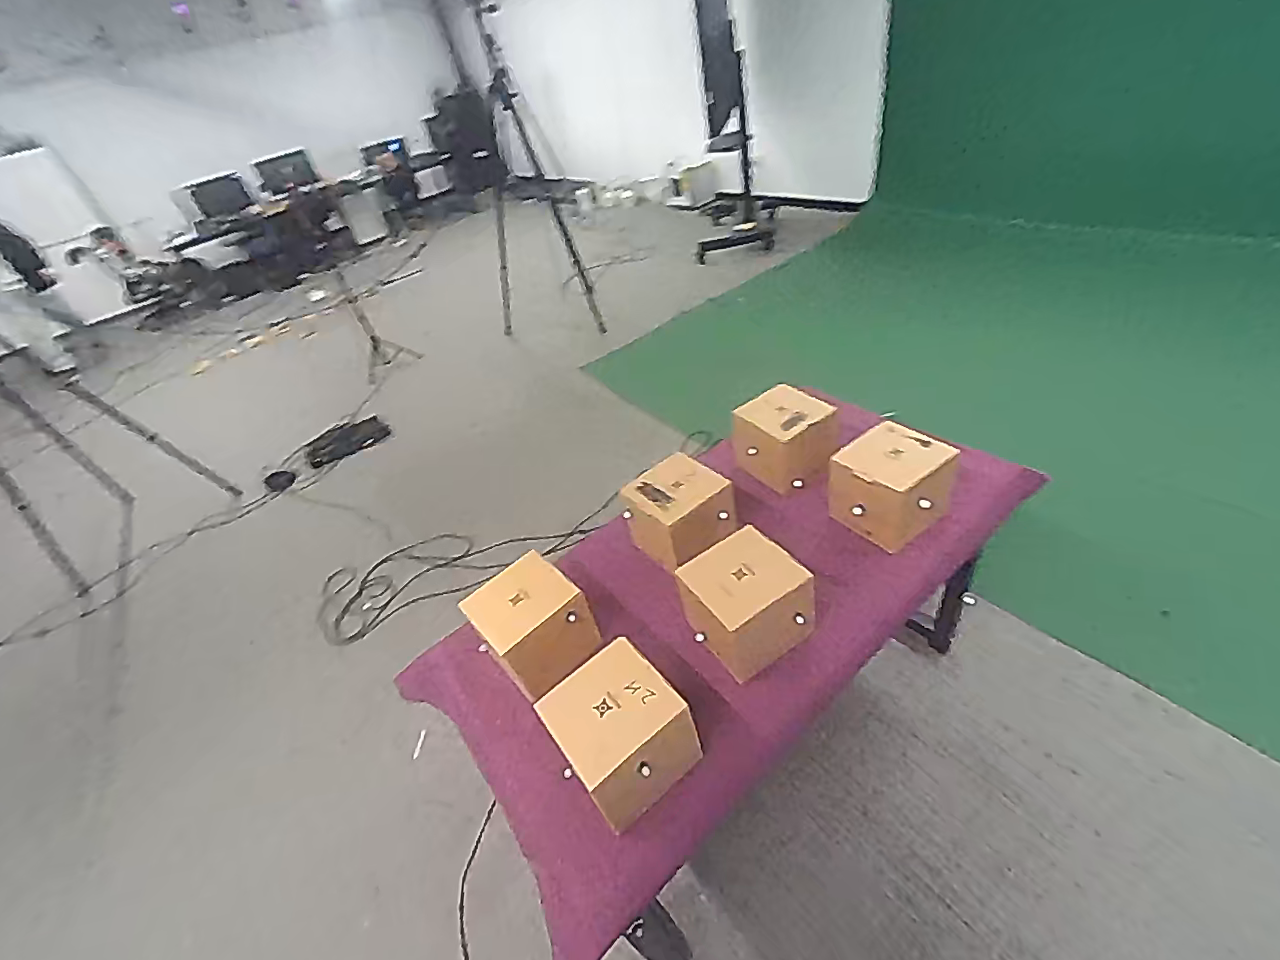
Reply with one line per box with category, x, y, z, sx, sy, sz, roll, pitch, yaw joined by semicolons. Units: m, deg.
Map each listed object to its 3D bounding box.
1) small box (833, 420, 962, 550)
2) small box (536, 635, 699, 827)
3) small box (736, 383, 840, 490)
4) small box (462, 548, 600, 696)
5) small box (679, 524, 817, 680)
small box;0.521;0.012;1.108;0.179;0.176;0.168;-31;41;-17
small box;-0.028;0.386;0.834;0.179;0.176;0.168;-32;42;-21
small box;0.354;-0.099;1.291;0.168;0.176;0.179;-30;41;-17
small box;-0.199;0.270;1.028;0.179;0.176;0.168;-36;44;-25
small box;0.195;0.217;0.970;0.179;0.176;0.168;-29;40;-15
